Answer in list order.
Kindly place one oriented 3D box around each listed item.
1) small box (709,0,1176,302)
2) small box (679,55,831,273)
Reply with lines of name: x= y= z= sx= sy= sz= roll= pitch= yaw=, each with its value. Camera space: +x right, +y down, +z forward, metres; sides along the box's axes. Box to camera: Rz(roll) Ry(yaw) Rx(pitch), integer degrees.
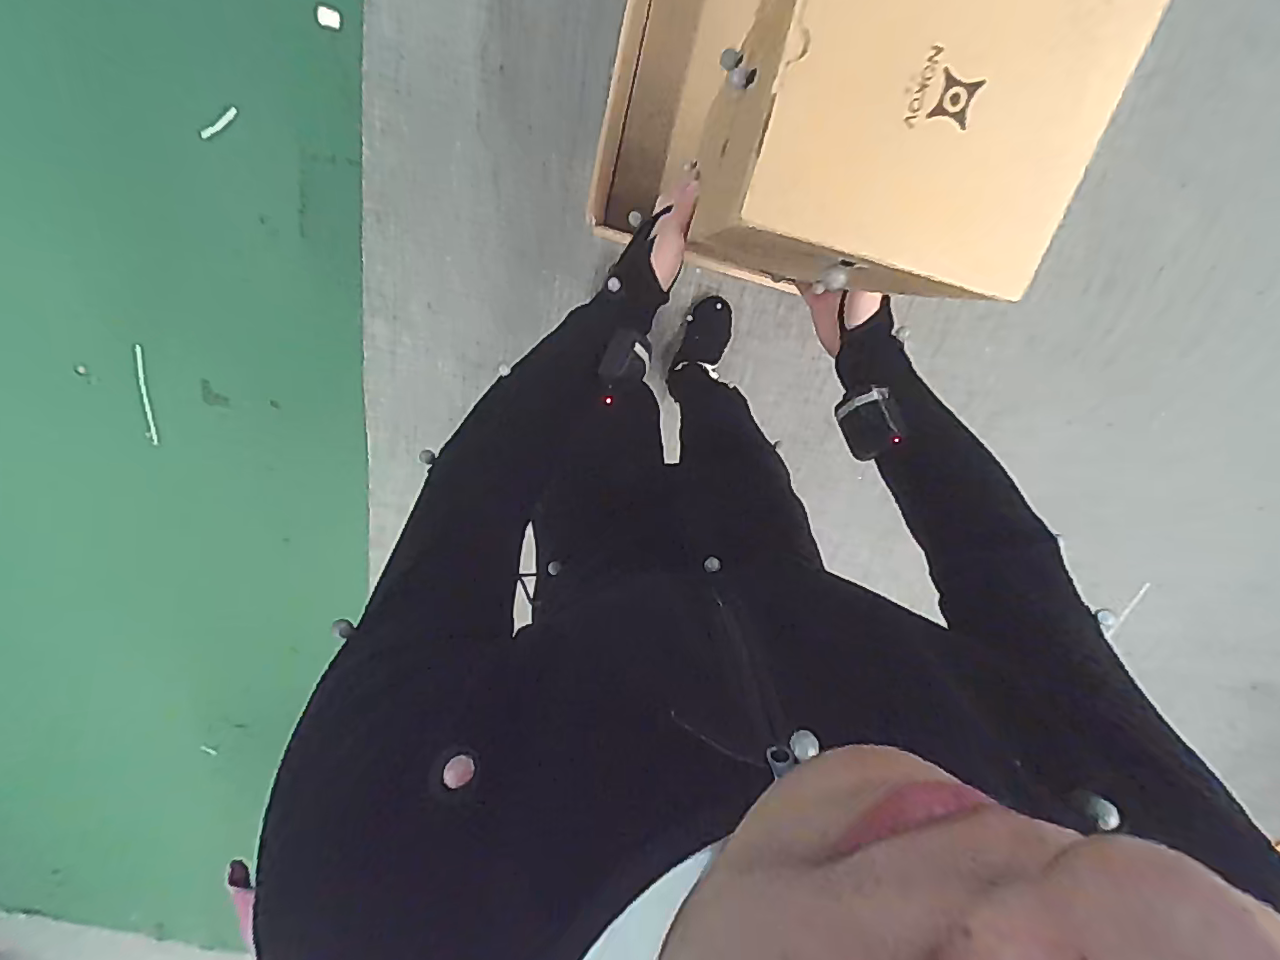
small box: x=0.158 y=-0.227 z=0.349 sx=0.179 sy=0.176 sz=0.168 roll=13 pitch=111 yaw=-7
small box: x=0.156 y=-0.359 z=0.648 sx=0.179 sy=0.176 sz=0.168 roll=15 pitch=110 yaw=-6
